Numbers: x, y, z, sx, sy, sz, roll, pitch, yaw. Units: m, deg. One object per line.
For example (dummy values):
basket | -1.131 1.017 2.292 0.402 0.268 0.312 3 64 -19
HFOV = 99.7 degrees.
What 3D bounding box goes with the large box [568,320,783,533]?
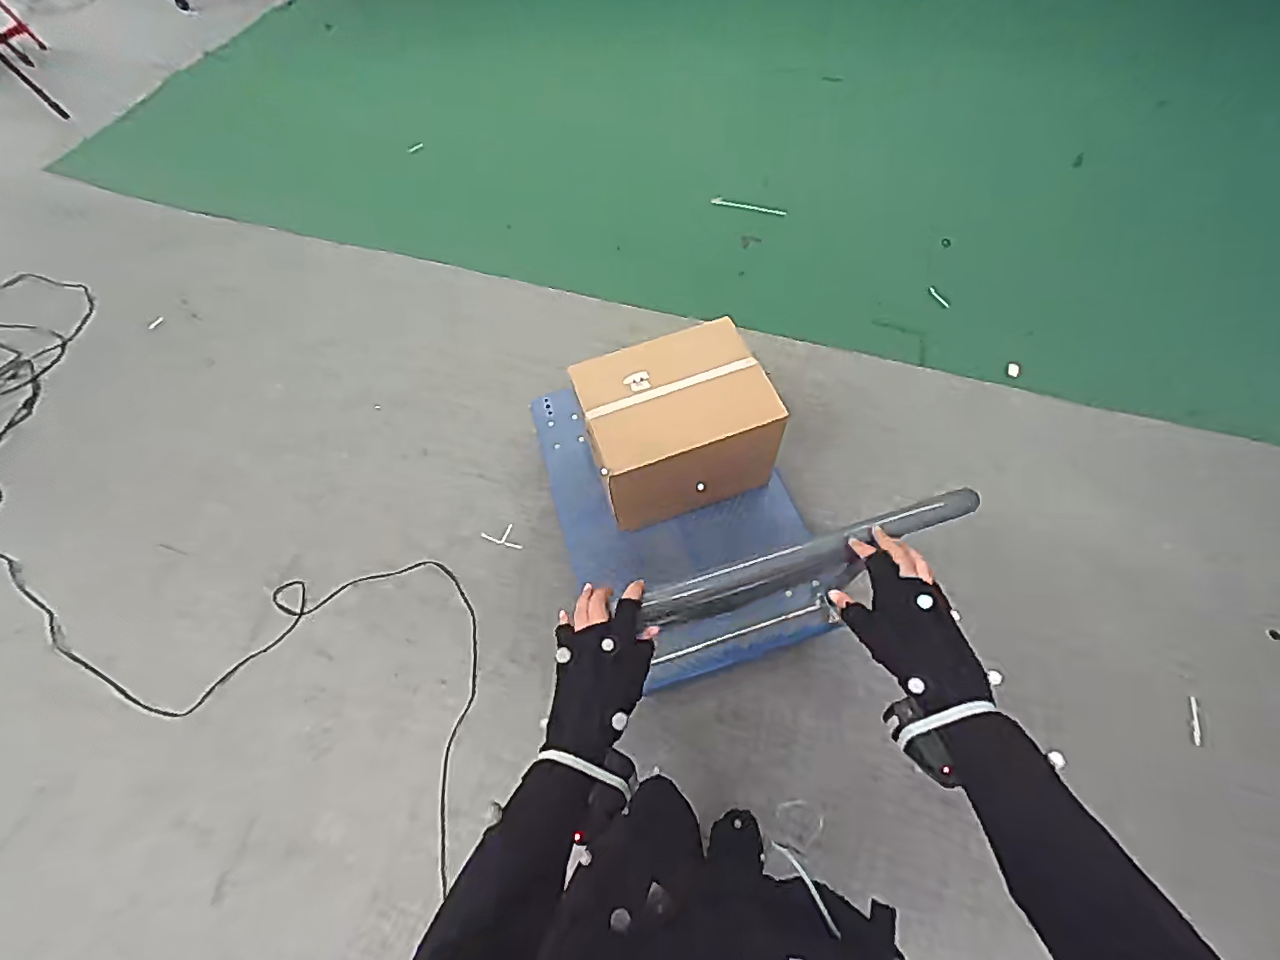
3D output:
large box | 0.082 -0.121 1.323 0.408 0.320 0.320 -20 61 -5
